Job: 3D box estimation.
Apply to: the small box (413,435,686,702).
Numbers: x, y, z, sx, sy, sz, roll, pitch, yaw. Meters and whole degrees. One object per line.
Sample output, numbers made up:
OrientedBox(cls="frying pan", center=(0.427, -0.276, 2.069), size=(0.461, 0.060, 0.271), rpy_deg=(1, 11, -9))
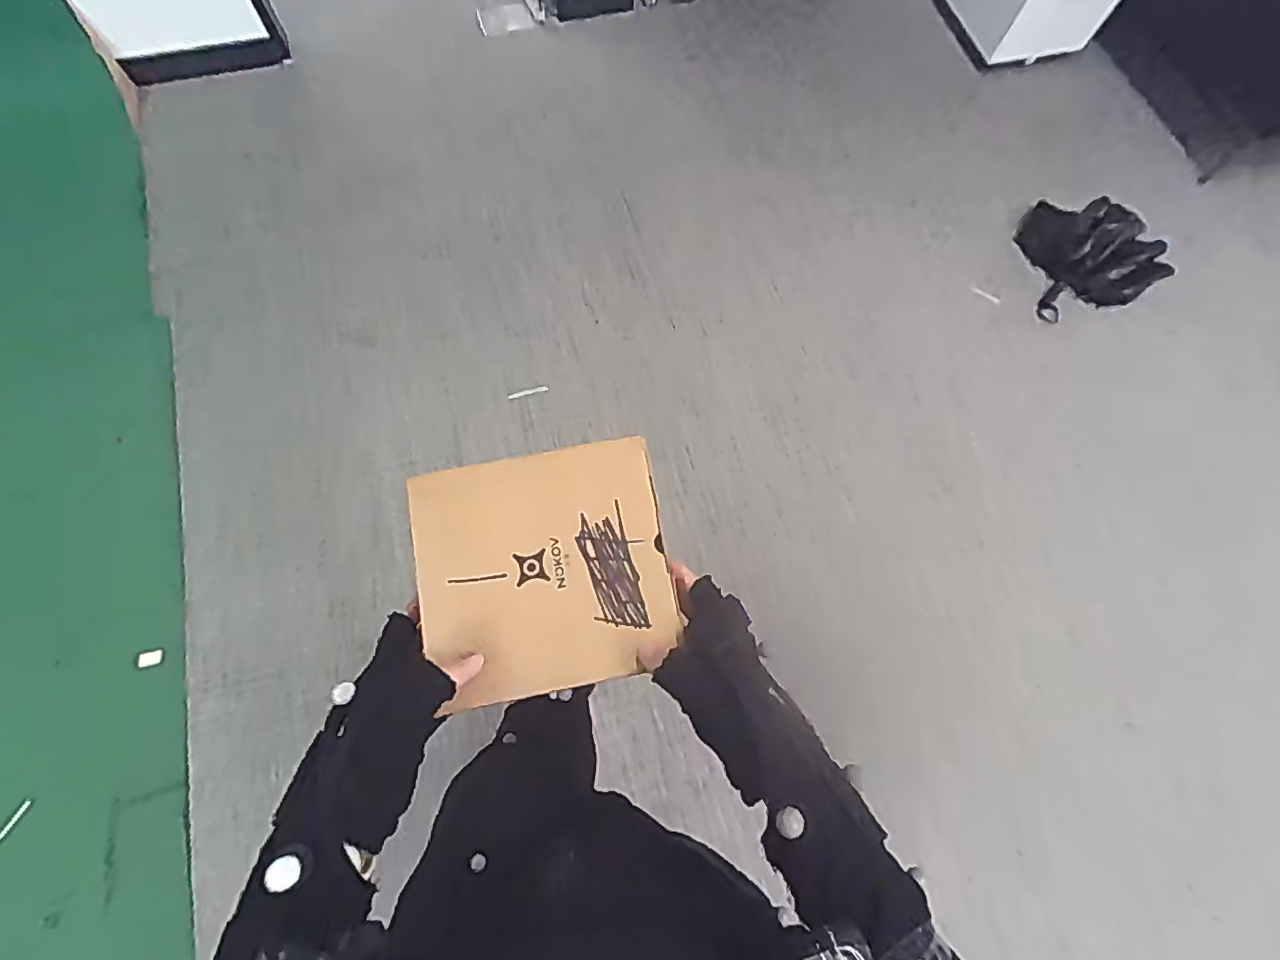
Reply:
OrientedBox(cls="small box", center=(-0.070, 0.074, 0.461), size=(0.179, 0.176, 0.168), rpy_deg=(-10, 77, -4))
